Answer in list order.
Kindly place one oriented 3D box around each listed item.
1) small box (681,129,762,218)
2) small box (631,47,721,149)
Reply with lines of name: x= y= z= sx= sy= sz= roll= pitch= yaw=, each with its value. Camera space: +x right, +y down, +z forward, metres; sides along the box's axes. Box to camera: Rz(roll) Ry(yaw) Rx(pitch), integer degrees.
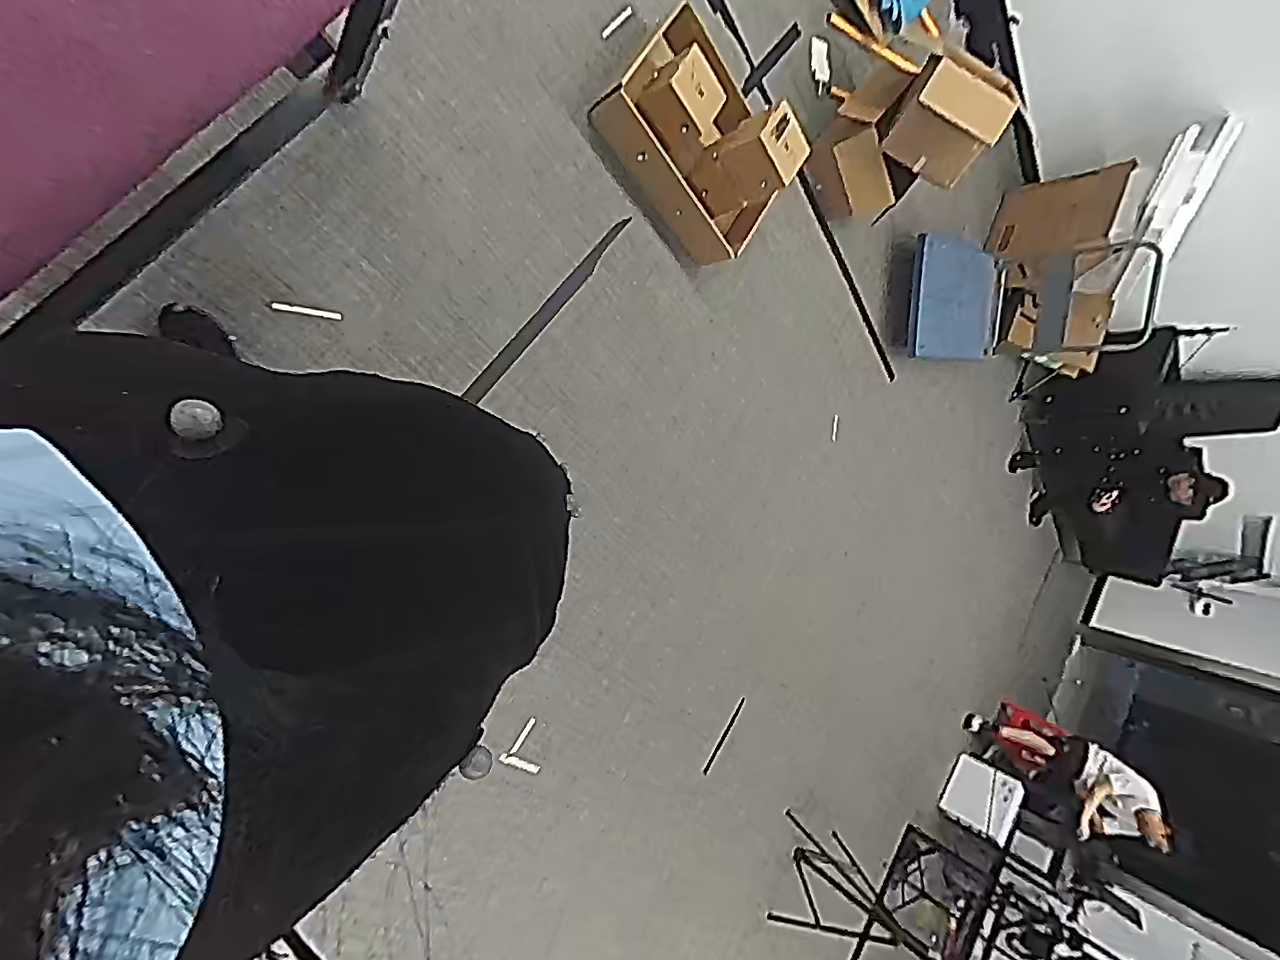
small box: x=0.268 y=-1.013 z=1.803 sx=0.168 sy=0.176 sz=0.179 roll=40 pitch=73 yaw=-34
small box: x=0.109 y=-1.151 z=1.651 sx=0.179 sy=0.176 sz=0.168 roll=39 pitch=73 yaw=-37
